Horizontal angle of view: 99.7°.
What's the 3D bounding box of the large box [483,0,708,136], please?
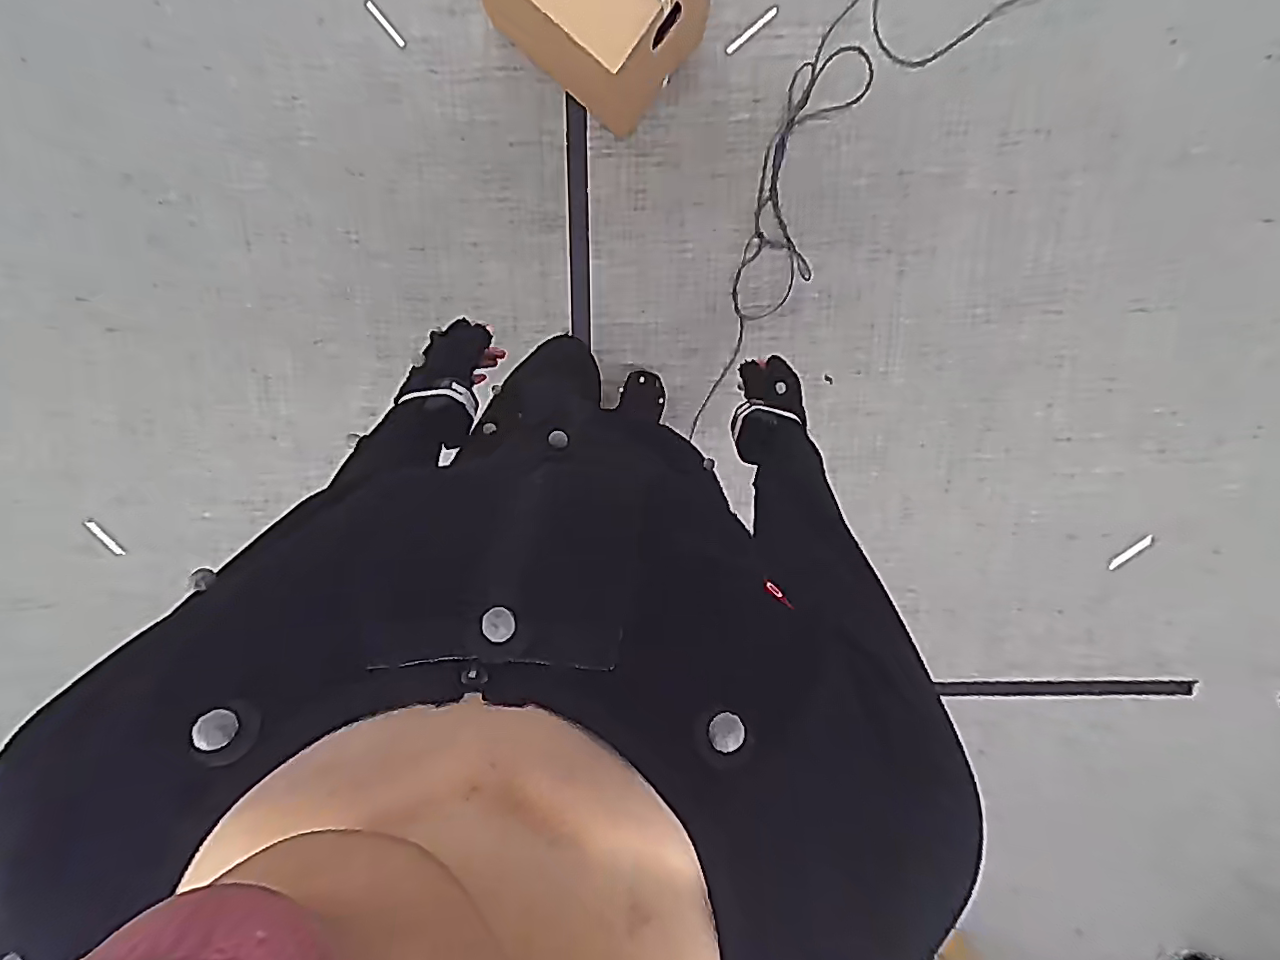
[{"bbox_3d":[-0.100,-1.039,1.127,0.408,0.320,0.320,38,101,-7],"label":"large box"}]
